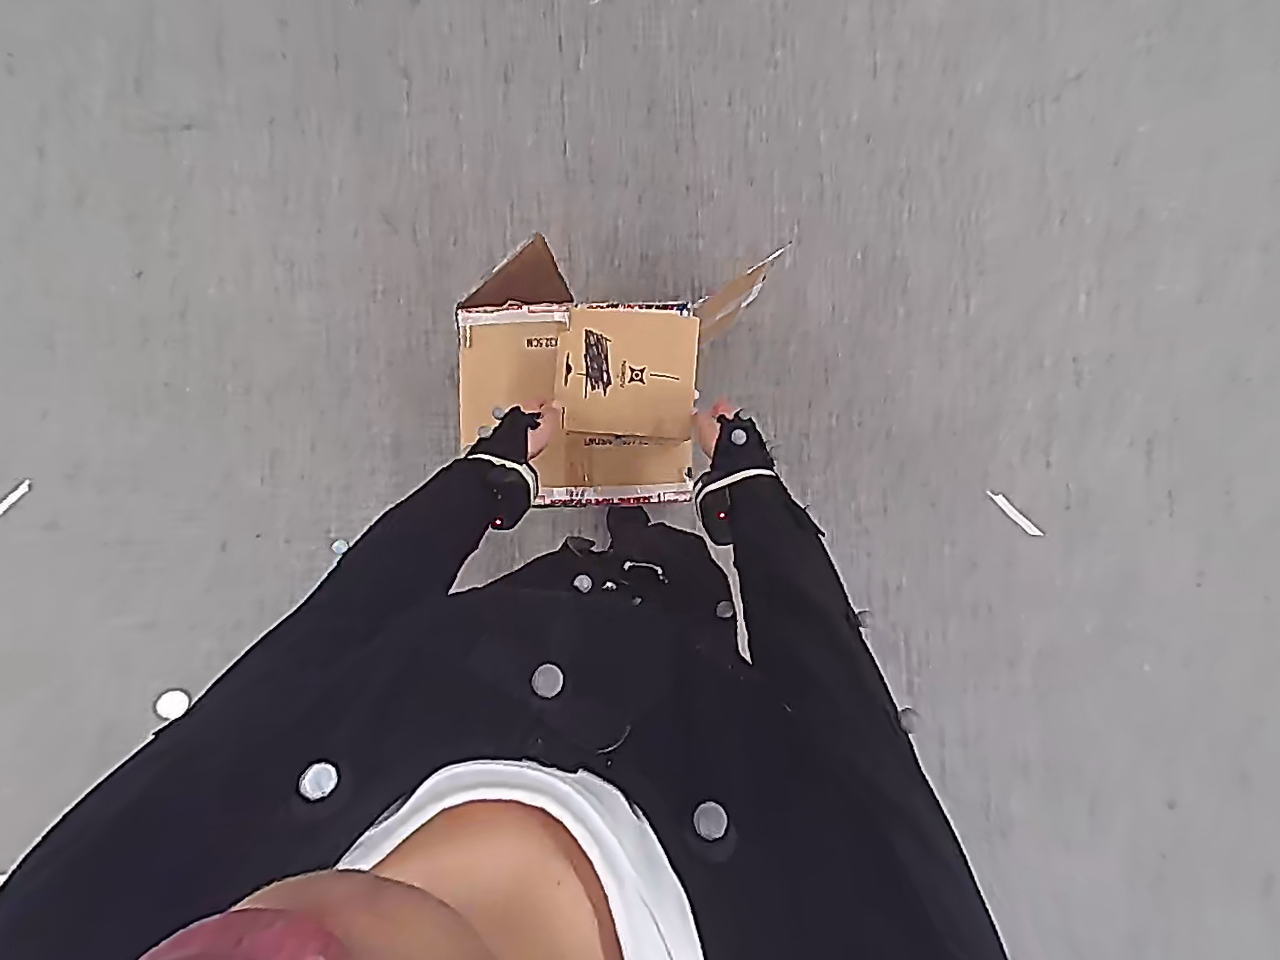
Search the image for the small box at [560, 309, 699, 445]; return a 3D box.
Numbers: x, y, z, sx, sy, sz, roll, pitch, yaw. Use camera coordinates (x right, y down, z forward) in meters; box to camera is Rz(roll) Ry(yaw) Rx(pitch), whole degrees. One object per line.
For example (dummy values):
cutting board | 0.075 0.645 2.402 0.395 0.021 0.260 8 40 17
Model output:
small box | -0.014 -0.141 0.797 0.179 0.176 0.168 4 92 0
